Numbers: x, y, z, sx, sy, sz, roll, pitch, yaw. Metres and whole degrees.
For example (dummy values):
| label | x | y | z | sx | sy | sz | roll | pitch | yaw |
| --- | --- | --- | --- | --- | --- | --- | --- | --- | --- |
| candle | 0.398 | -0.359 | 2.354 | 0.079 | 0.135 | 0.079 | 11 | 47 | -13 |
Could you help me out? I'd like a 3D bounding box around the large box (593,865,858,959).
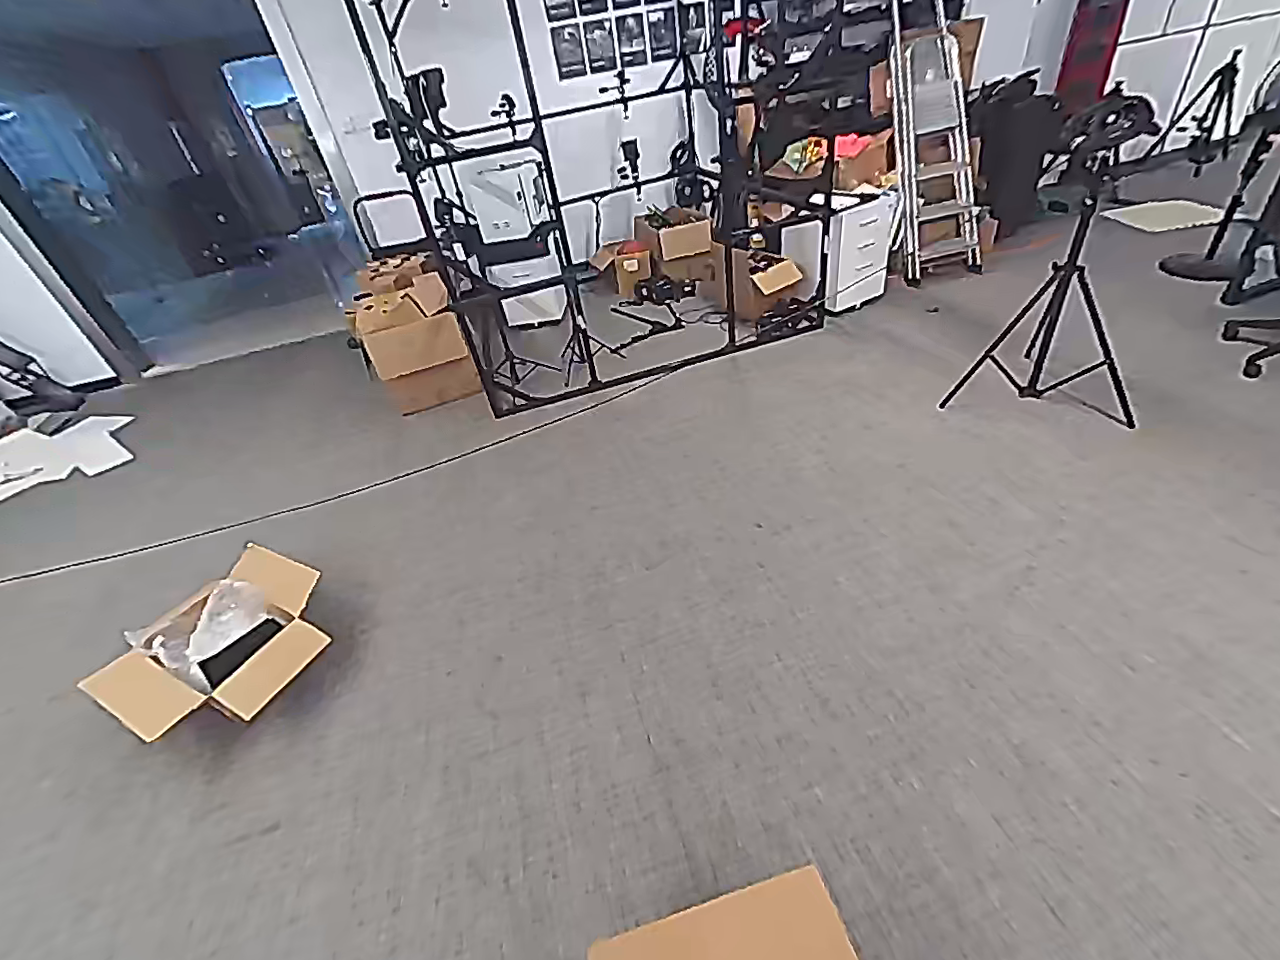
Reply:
| label | x | y | z | sx | sy | sz | roll | pitch | yaw |
| --- | --- | --- | --- | --- | --- | --- | --- | --- | --- |
| large box | 0.171 | 0.913 | 0.867 | 0.408 | 0.320 | 0.320 | -16 | 38 | -6 |
